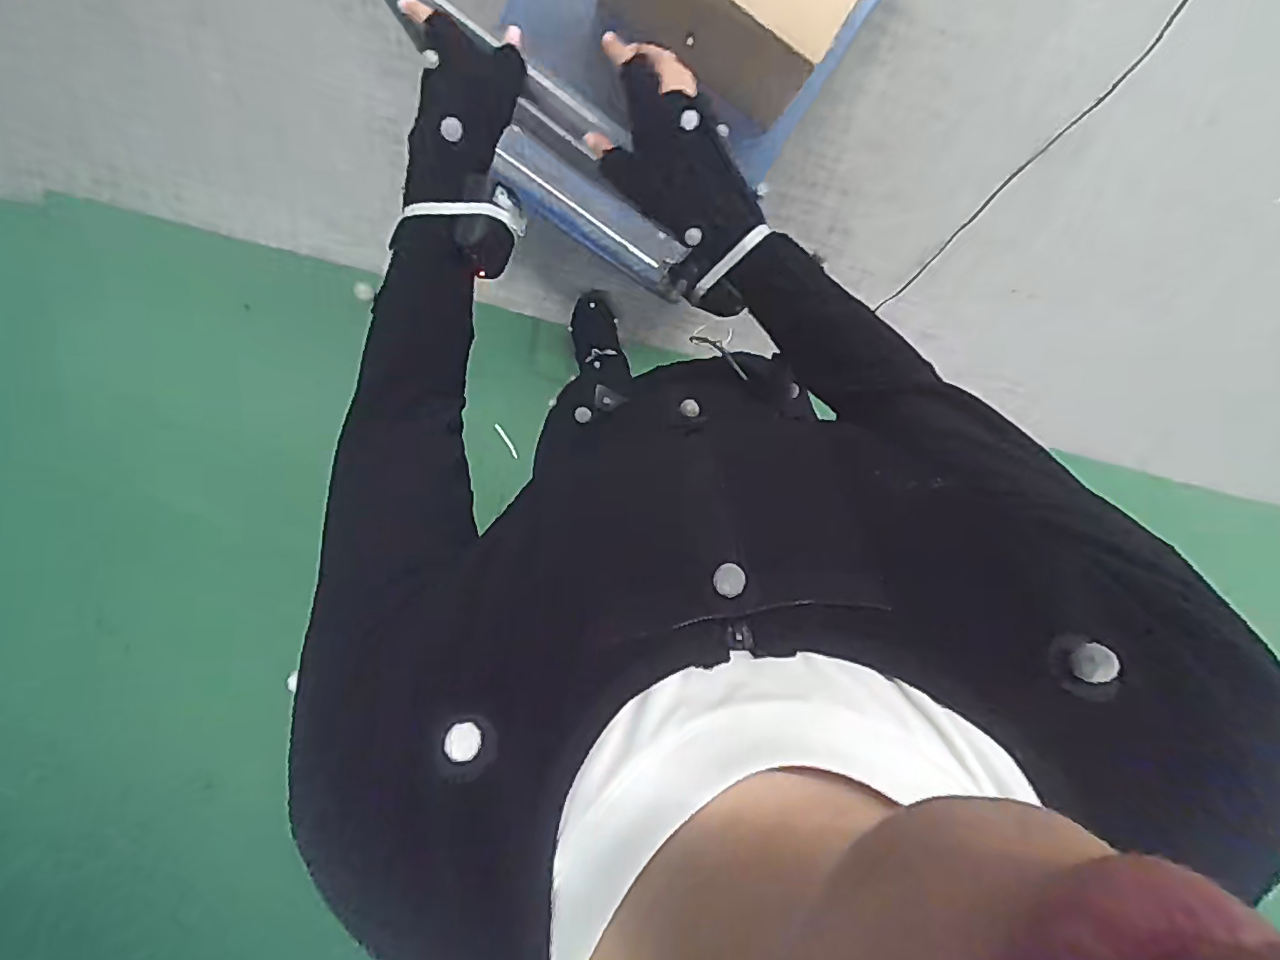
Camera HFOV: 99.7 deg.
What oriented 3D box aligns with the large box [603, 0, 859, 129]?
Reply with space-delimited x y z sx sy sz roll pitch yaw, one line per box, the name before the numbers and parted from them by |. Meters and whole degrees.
large box | 0.174 -0.872 0.877 0.408 0.320 0.320 31 105 -8
